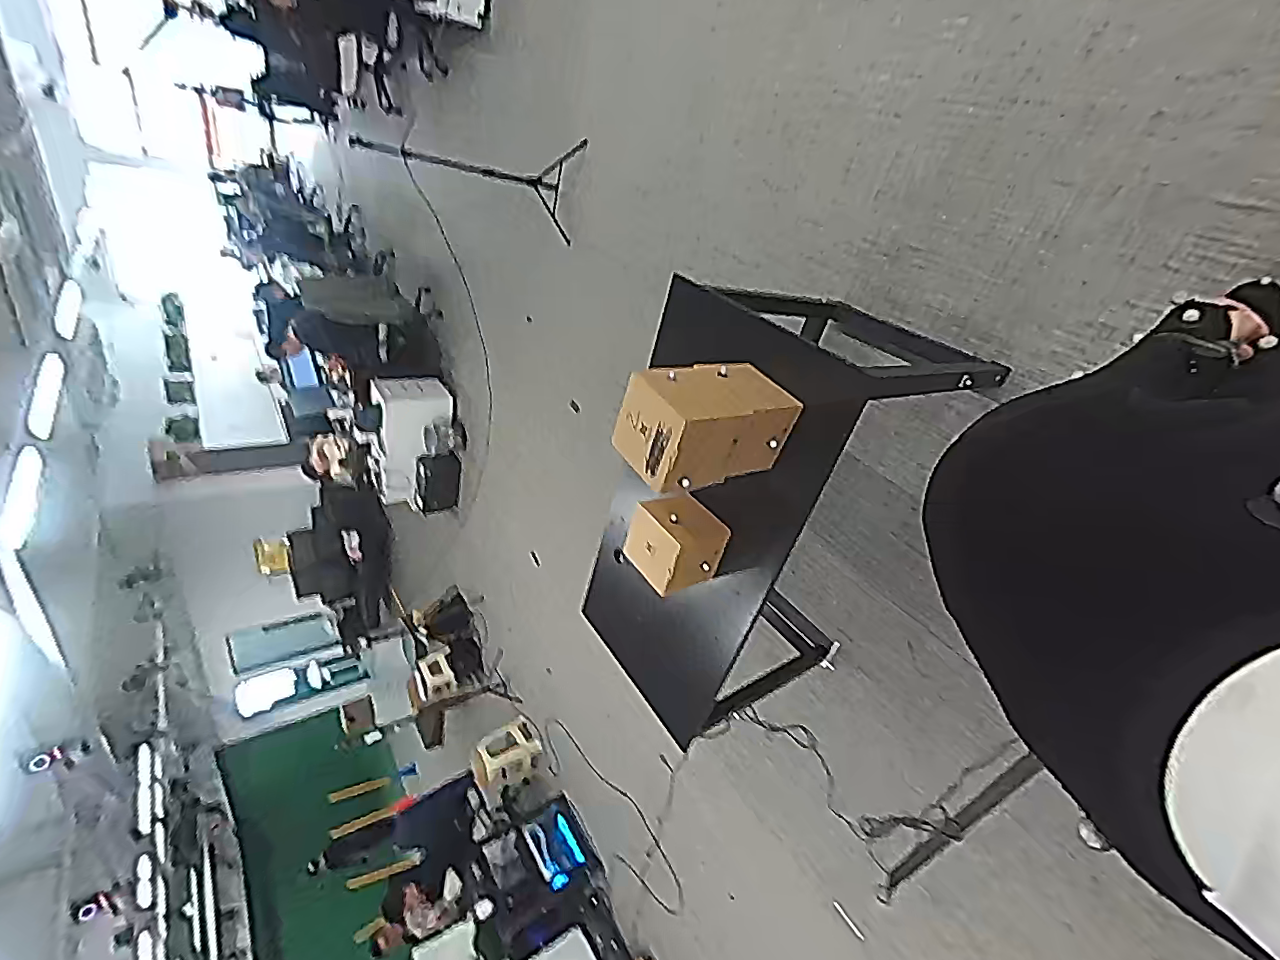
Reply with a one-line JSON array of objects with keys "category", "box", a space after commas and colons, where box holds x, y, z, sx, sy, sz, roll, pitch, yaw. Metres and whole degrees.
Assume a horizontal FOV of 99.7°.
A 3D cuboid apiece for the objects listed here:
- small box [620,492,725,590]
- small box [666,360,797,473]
[{"category": "small box", "box": [0.080, 0.144, 1.353, 0.179, 0.176, 0.168, 44, 130, 38]}, {"category": "small box", "box": [0.190, -0.137, 1.136, 0.179, 0.176, 0.168, 49, 135, 34]}]
